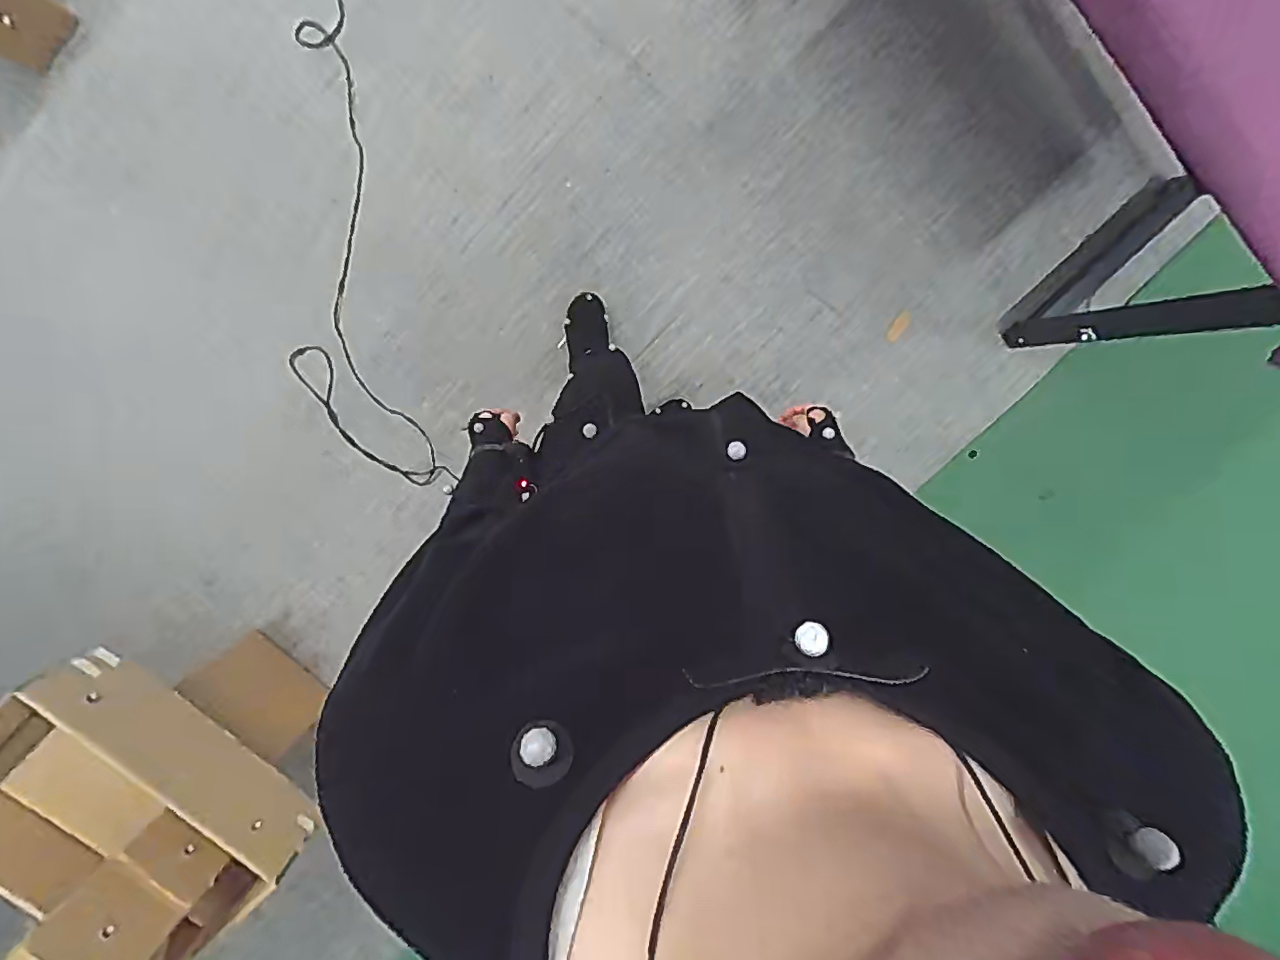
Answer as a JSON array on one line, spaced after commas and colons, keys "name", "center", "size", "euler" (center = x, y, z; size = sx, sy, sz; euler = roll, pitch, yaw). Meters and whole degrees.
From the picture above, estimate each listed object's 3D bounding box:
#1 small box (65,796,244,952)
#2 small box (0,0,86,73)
[{"name": "small box", "center": [-0.987, 0.797, 1.118], "size": [0.168, 0.176, 0.179], "euler": [-42, 99, 6]}, {"name": "small box", "center": [-1.405, -1.062, 1.192], "size": [0.168, 0.176, 0.179], "euler": [44, 97, -9]}]
